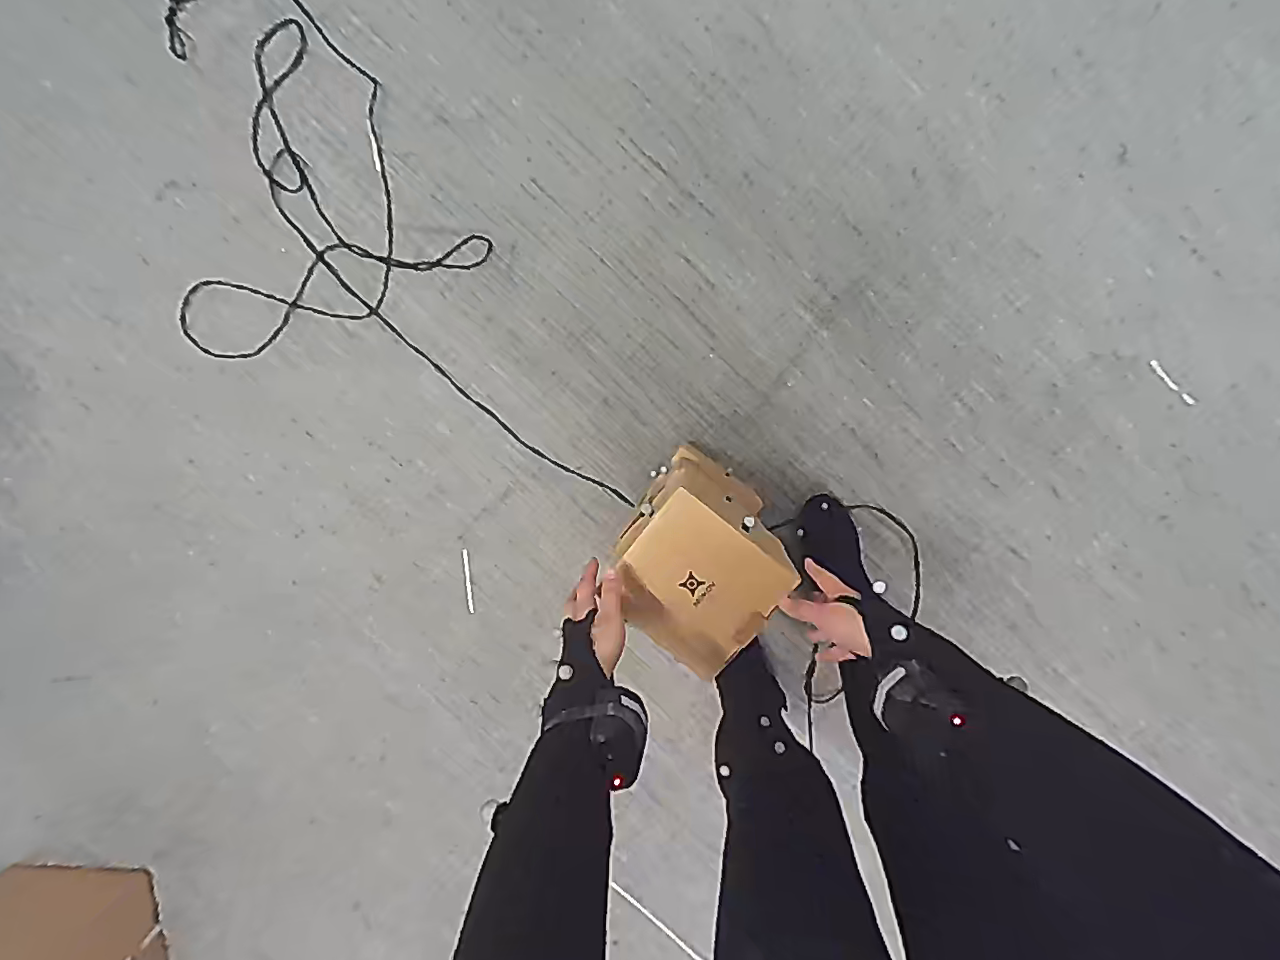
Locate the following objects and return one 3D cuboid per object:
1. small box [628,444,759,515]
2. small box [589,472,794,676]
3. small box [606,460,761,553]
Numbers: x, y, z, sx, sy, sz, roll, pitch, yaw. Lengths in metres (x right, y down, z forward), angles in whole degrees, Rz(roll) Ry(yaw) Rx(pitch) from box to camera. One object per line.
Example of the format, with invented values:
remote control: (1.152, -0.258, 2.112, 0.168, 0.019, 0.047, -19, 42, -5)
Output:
small box: (0.097, 0.043, 1.011, 0.179, 0.176, 0.168, 35, 100, 1)
small box: (0.063, 0.104, 0.692, 0.179, 0.176, 0.168, 37, 100, -1)
small box: (0.072, 0.083, 0.853, 0.179, 0.176, 0.168, 39, 101, -1)
